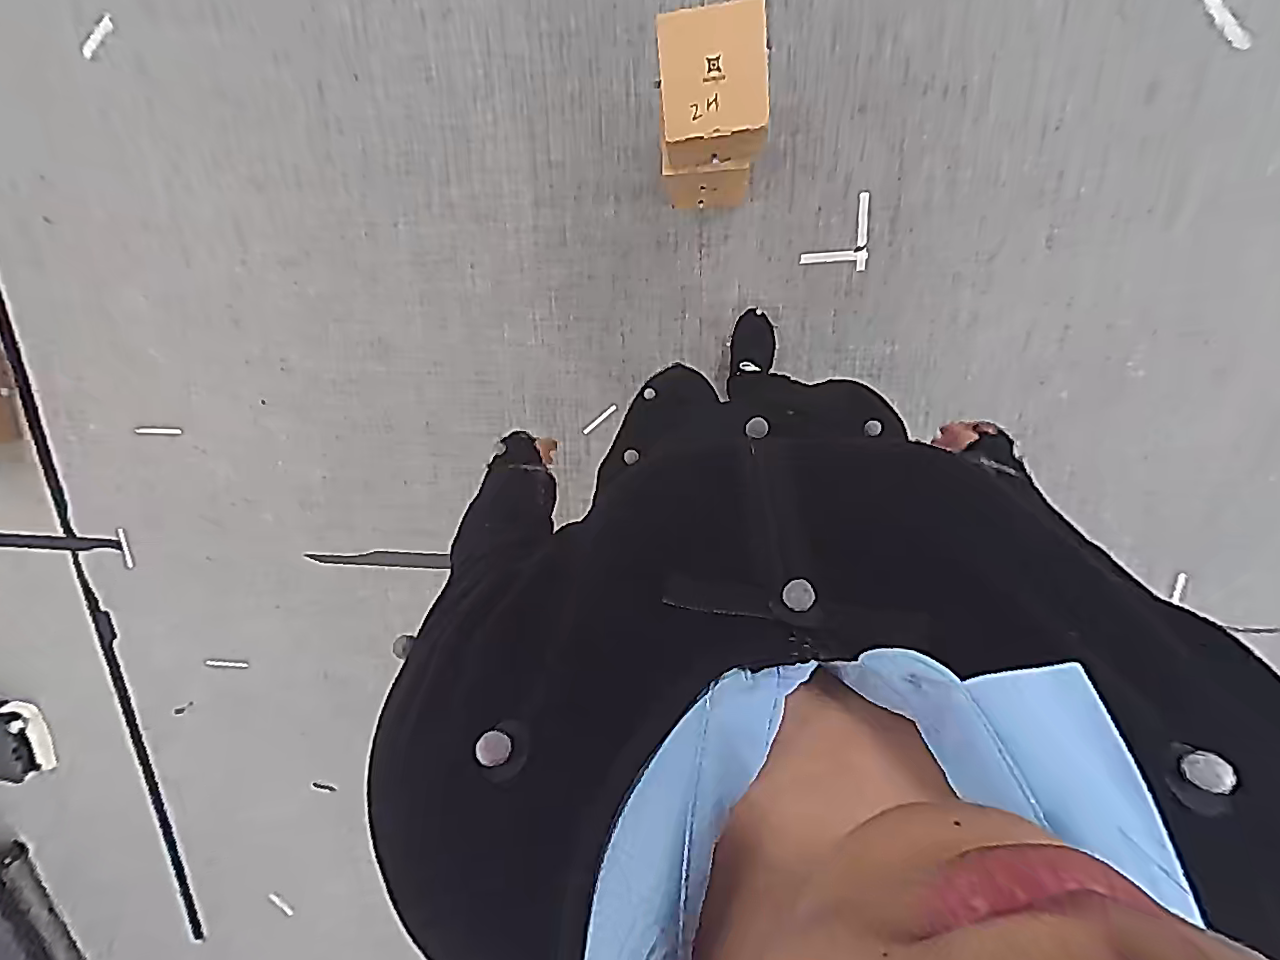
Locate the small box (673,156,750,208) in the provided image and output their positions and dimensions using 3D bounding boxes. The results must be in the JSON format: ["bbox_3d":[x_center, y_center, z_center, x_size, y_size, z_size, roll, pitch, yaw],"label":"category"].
[{"bbox_3d":[0.159,-0.731,1.220,0.168,0.176,0.179,-1,105,6],"label":"small box"}]

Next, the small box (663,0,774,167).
[{"bbox_3d":[0.128,-0.651,0.902,0.168,0.176,0.179,-4,106,8],"label":"small box"}]
